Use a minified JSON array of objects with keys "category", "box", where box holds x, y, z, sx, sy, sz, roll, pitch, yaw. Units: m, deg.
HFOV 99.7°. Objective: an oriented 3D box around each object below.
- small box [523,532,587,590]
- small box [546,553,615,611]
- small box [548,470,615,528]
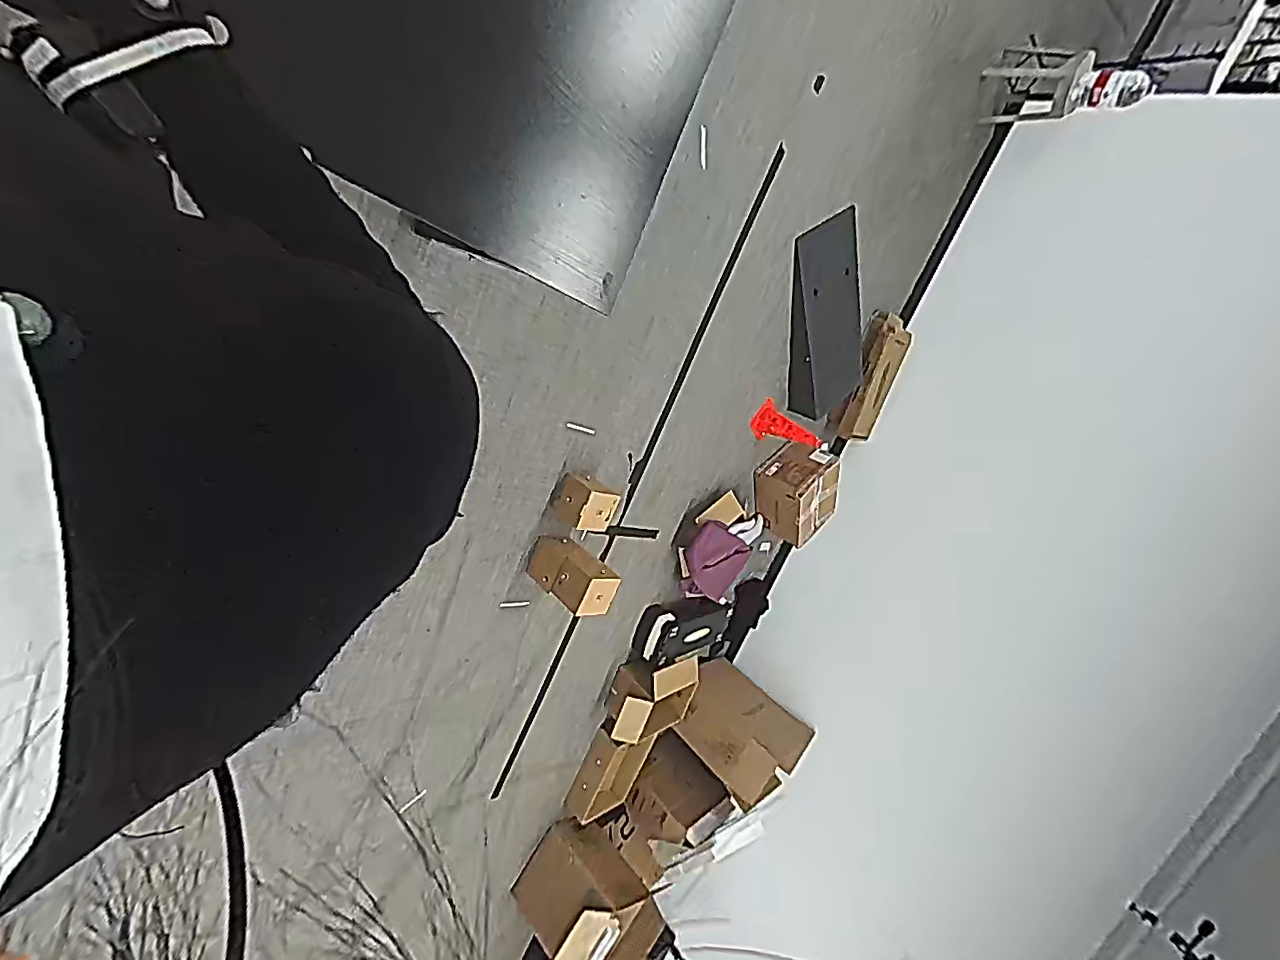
[{"category":"small box","box":[-0.356,0.332,2.223,0.168,0.176,0.179,9,109,-51]},{"category":"small box","box":[-0.236,0.400,2.135,0.179,0.176,0.168,13,106,-50]},{"category":"small box","box":[-0.240,0.074,2.166,0.179,0.176,0.168,14,105,-52]}]
